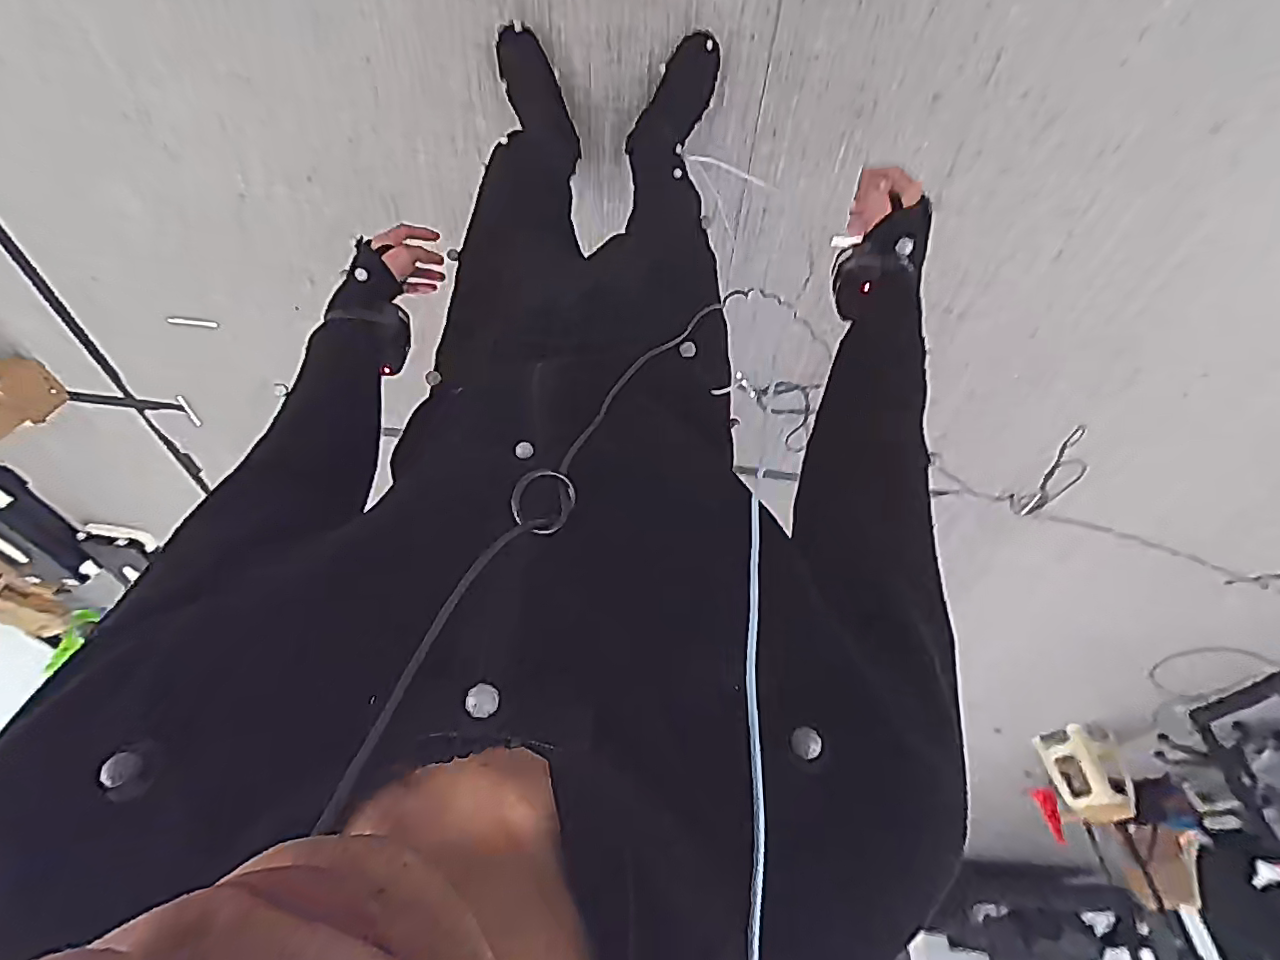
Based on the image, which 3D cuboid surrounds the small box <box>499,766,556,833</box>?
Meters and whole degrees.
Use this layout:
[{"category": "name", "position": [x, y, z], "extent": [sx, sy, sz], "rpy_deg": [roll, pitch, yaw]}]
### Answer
[{"category": "small box", "position": [-0.399, 1.147, 1.943], "extent": [0.168, 0.176, 0.179], "rpy_deg": [6, 137, -1]}]
